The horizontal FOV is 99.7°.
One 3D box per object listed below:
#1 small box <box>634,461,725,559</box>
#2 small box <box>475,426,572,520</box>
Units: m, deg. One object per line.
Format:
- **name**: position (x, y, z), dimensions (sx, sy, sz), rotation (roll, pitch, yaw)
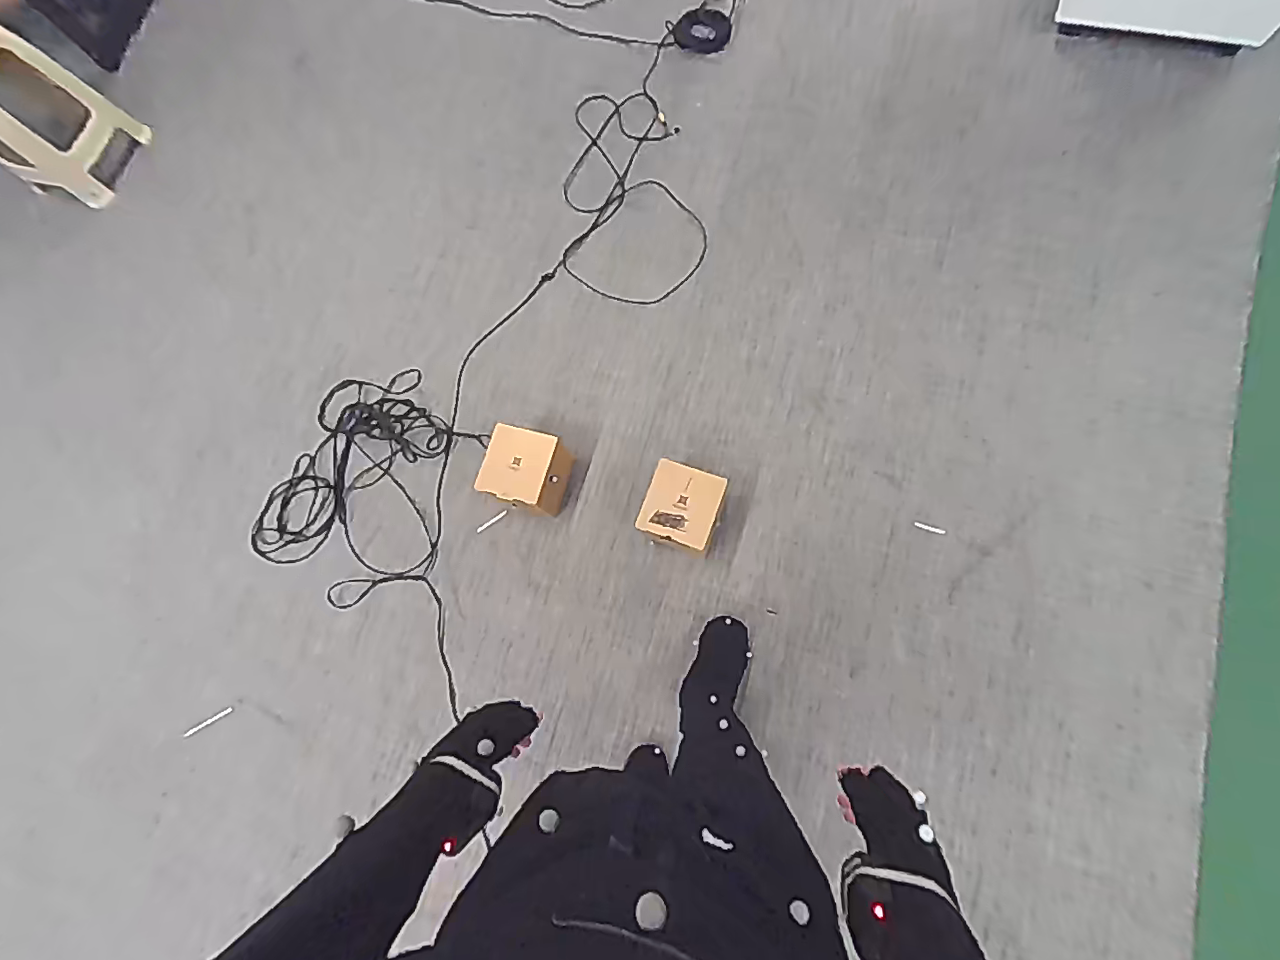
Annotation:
- **small box**: position (0.101, 0.080, 1.294), dimensions (0.168, 0.176, 0.179), rotation (19, 79, 12)
- **small box**: position (-0.284, -0.012, 1.370), dimensions (0.168, 0.176, 0.179), rotation (14, 79, 11)
